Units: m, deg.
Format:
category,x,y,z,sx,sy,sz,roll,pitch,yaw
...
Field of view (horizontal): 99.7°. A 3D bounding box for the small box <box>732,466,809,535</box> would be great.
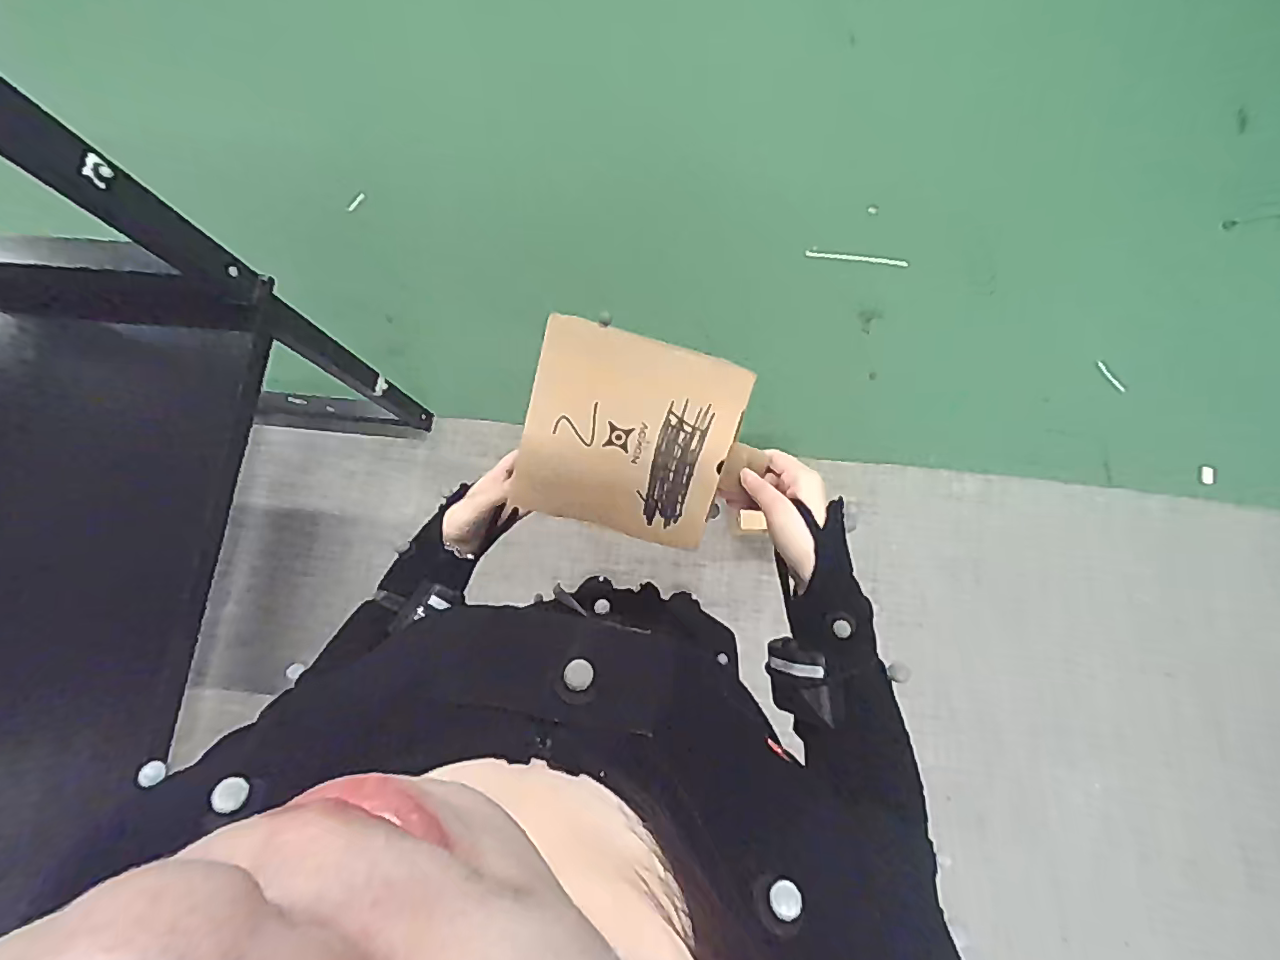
category,x,y,z,sx,sy,sz,roll,pitch,yaw
small box,0.343,0.060,1.456,0.179,0.176,0.168,0,80,0
